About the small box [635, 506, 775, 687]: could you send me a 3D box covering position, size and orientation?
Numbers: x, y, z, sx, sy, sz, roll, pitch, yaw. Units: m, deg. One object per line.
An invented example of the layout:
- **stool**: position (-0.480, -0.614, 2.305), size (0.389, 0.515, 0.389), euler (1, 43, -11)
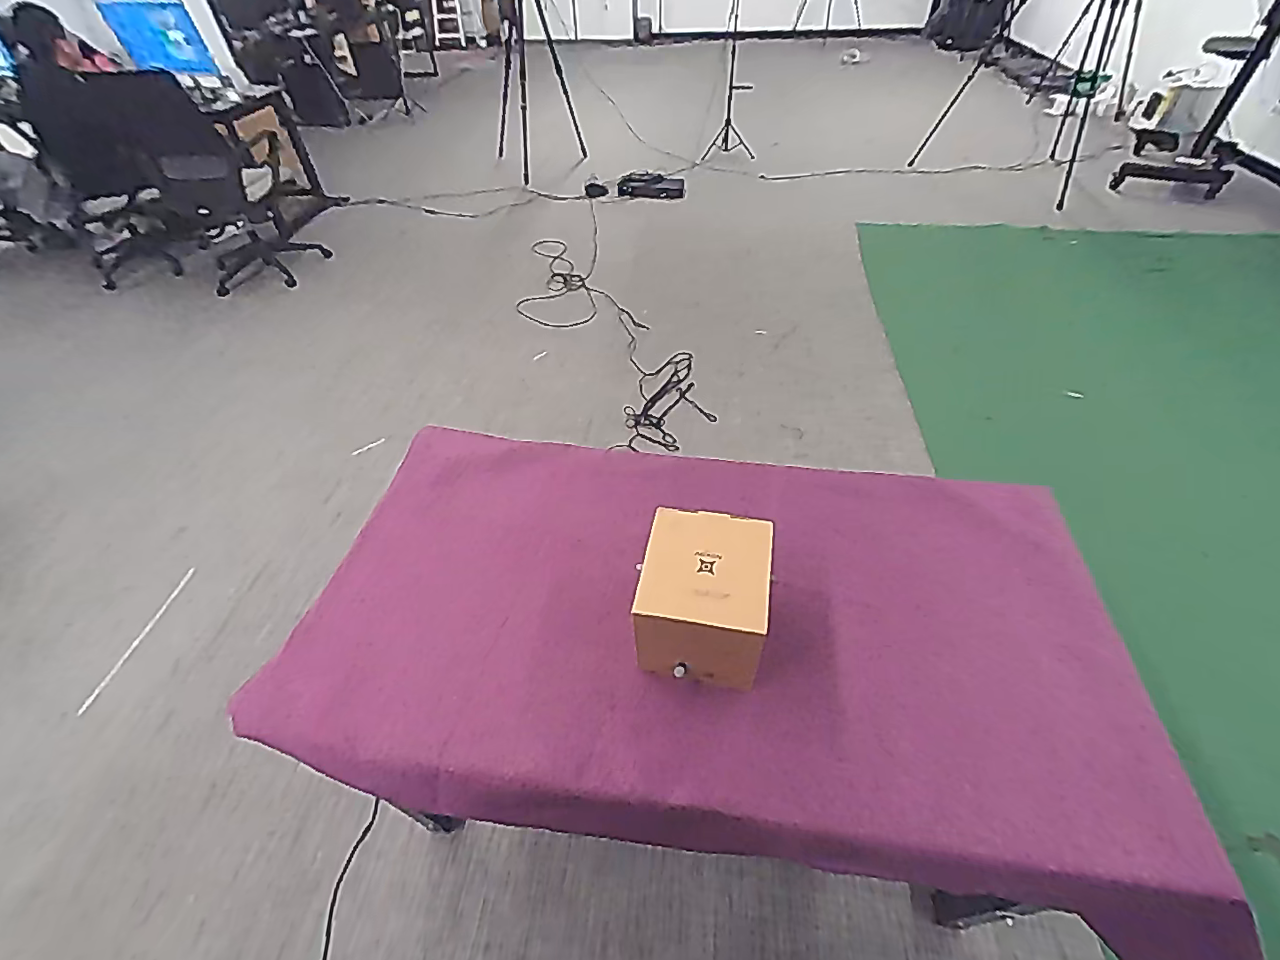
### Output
- **small box**: position (0.093, 0.165, 0.767), size (0.168, 0.176, 0.179), euler (7, 48, 10)
